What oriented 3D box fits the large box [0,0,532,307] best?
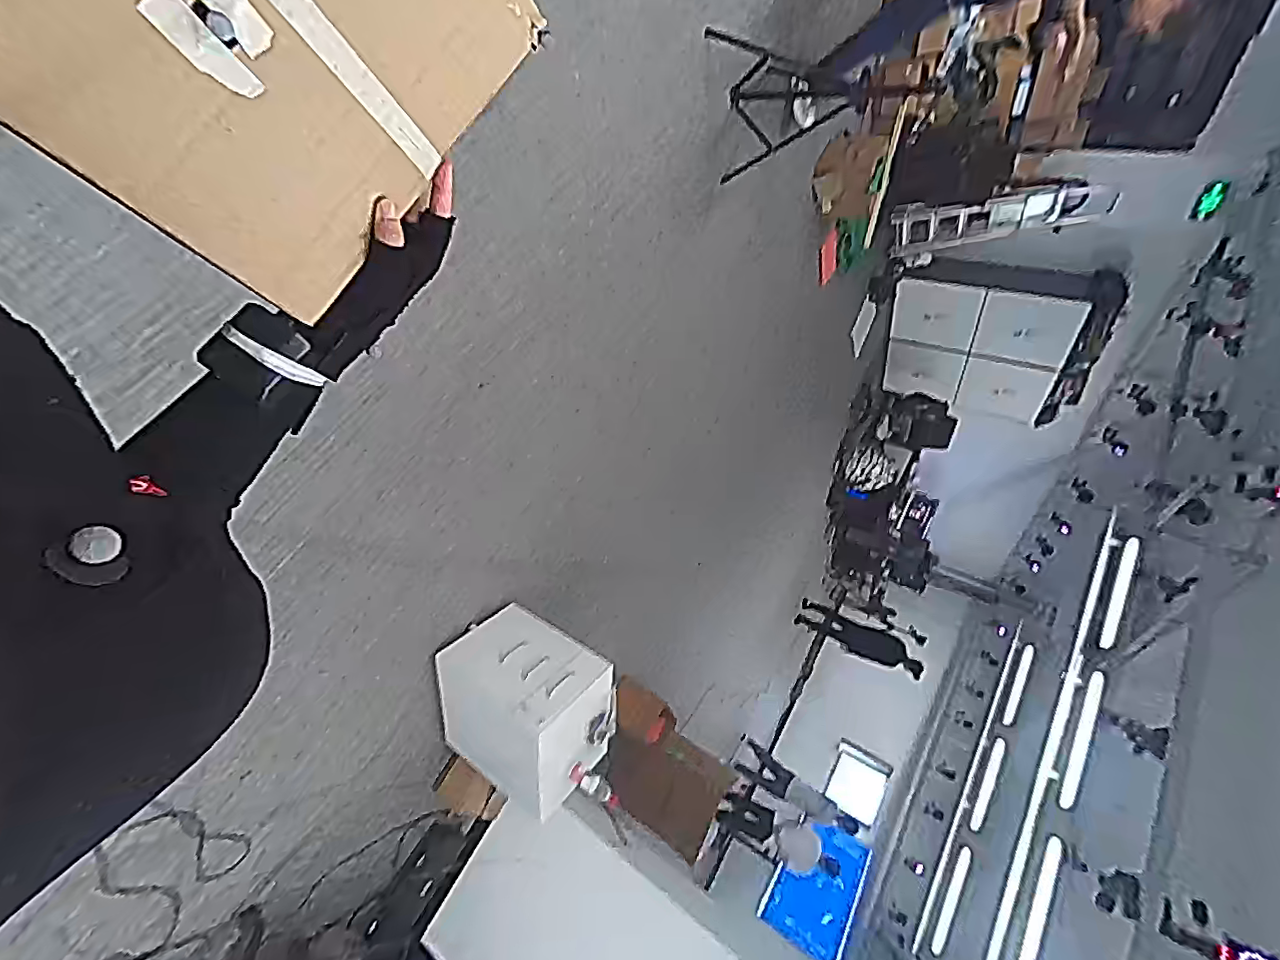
[{"bbox_3d":[-0.362,-0.392,0.353,0.320,0.320,0.408,-55,147,-5],"label":"large box"}]
